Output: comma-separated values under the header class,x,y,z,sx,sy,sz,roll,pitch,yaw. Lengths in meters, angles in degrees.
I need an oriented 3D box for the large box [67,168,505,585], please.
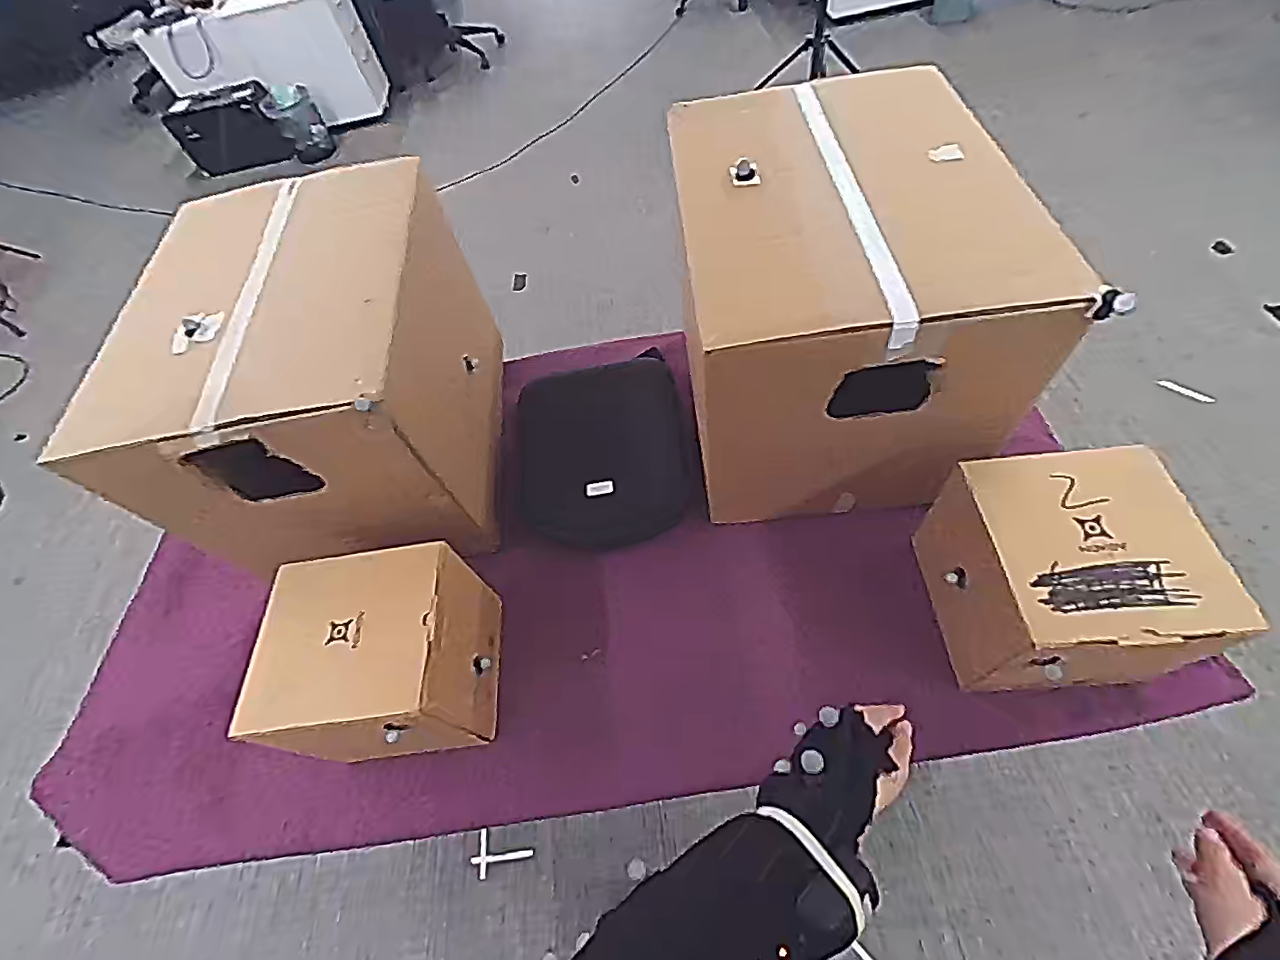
class,x,y,z,sx,sy,sz,roll,pitch,yaw
large box,-0.376,-0.122,0.705,0.320,0.320,0.408,-11,59,2
